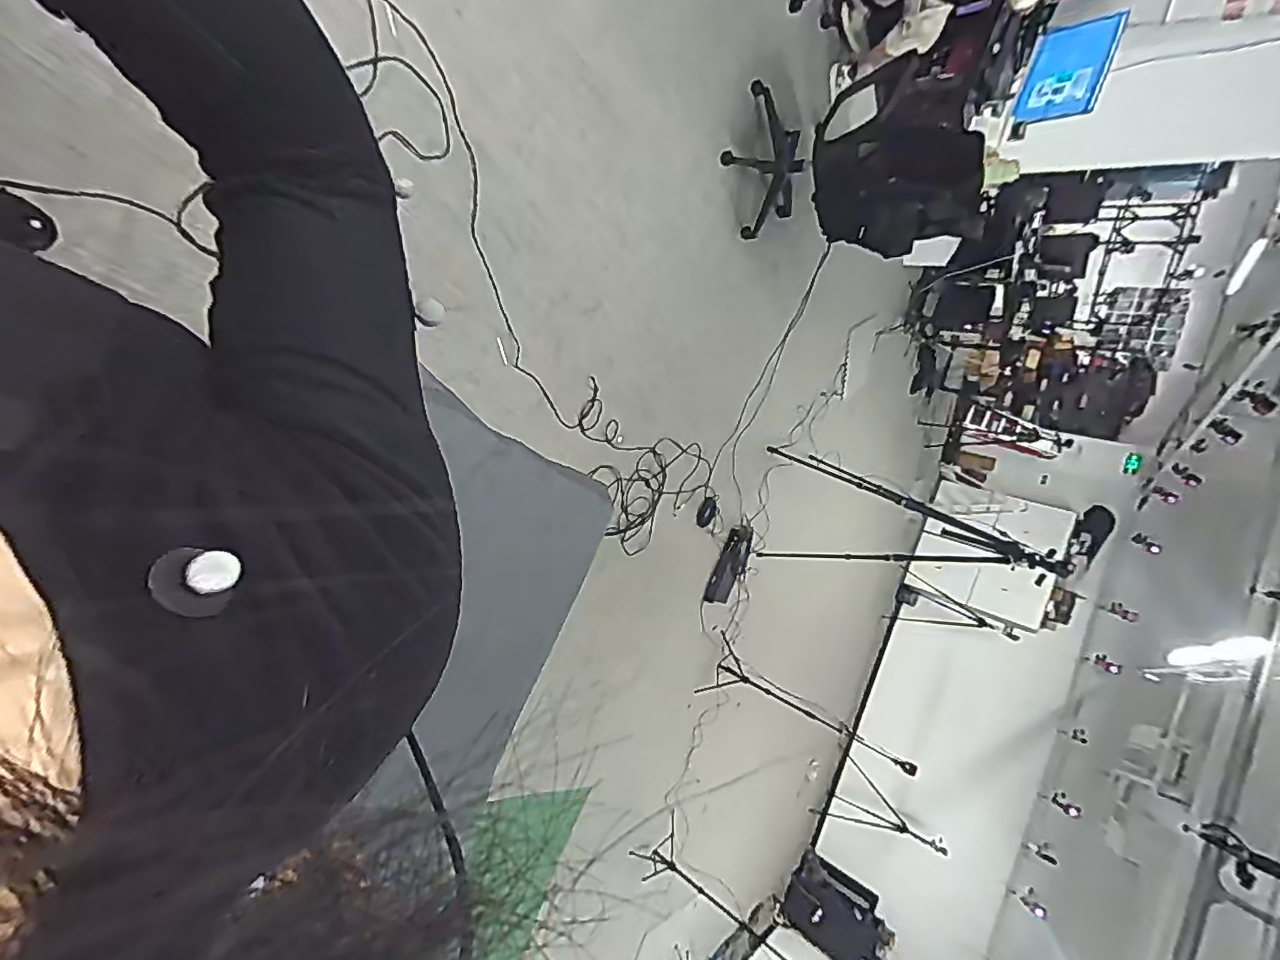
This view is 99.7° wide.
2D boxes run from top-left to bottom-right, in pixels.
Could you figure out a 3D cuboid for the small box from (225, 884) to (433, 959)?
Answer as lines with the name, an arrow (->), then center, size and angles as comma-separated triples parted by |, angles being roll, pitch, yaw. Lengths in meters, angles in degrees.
small box -> -0.398, 0.636, 0.664 | 0.168, 0.176, 0.179 | -63, 143, -15
